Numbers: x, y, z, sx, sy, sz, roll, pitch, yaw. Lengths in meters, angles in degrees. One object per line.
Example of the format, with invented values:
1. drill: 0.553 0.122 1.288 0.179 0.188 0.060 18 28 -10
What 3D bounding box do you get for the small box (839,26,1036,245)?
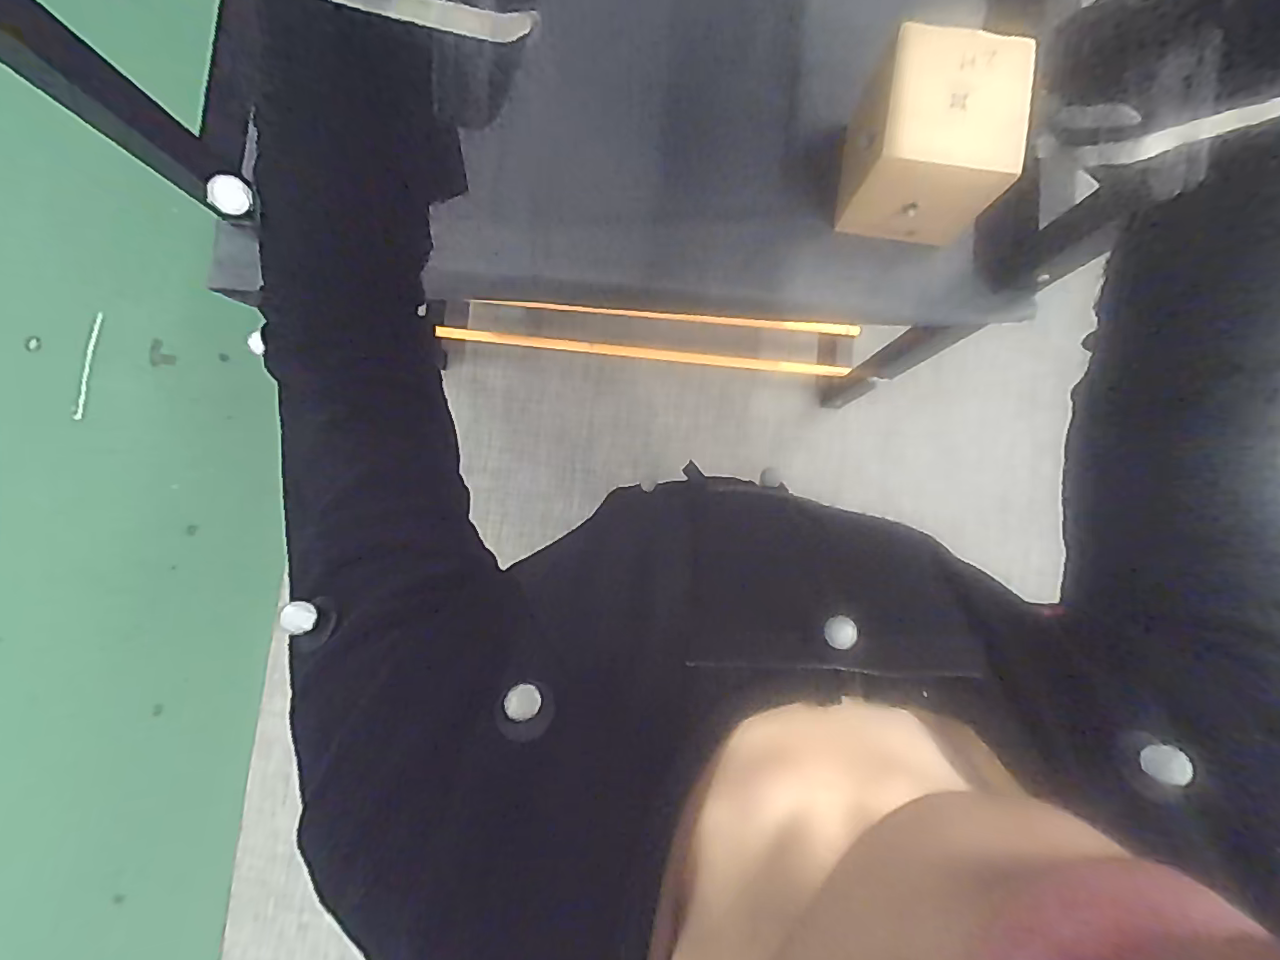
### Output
1. small box: 0.380 -0.443 0.722 0.168 0.176 0.179 9 85 1
